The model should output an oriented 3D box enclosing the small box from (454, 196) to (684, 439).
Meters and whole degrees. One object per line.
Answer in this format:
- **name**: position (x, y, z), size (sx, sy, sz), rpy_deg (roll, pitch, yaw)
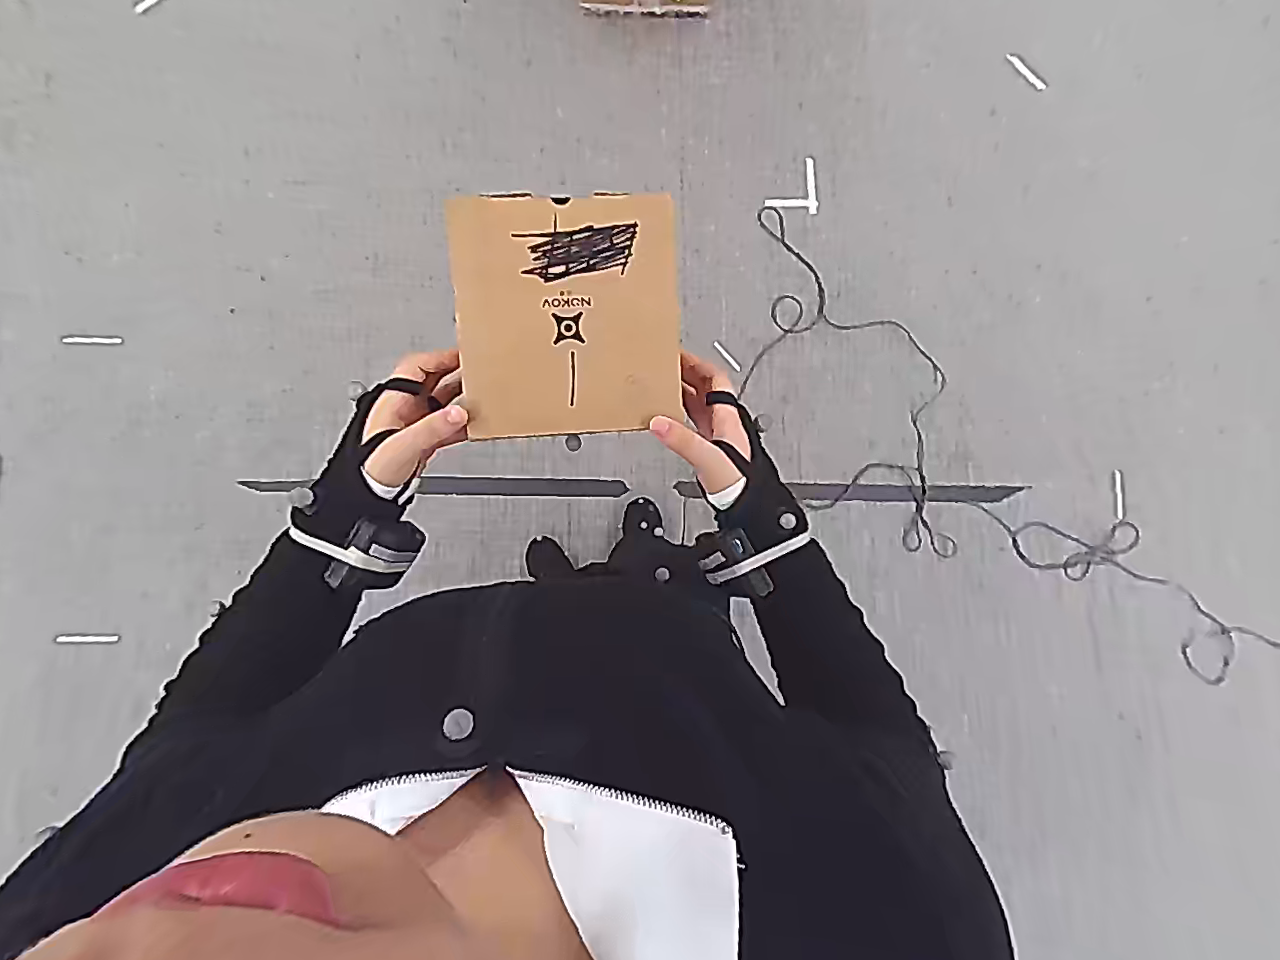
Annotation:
- **small box**: position (-0.058, -0.126, 0.480), size (0.168, 0.176, 0.179), rpy_deg (-3, 96, -5)
